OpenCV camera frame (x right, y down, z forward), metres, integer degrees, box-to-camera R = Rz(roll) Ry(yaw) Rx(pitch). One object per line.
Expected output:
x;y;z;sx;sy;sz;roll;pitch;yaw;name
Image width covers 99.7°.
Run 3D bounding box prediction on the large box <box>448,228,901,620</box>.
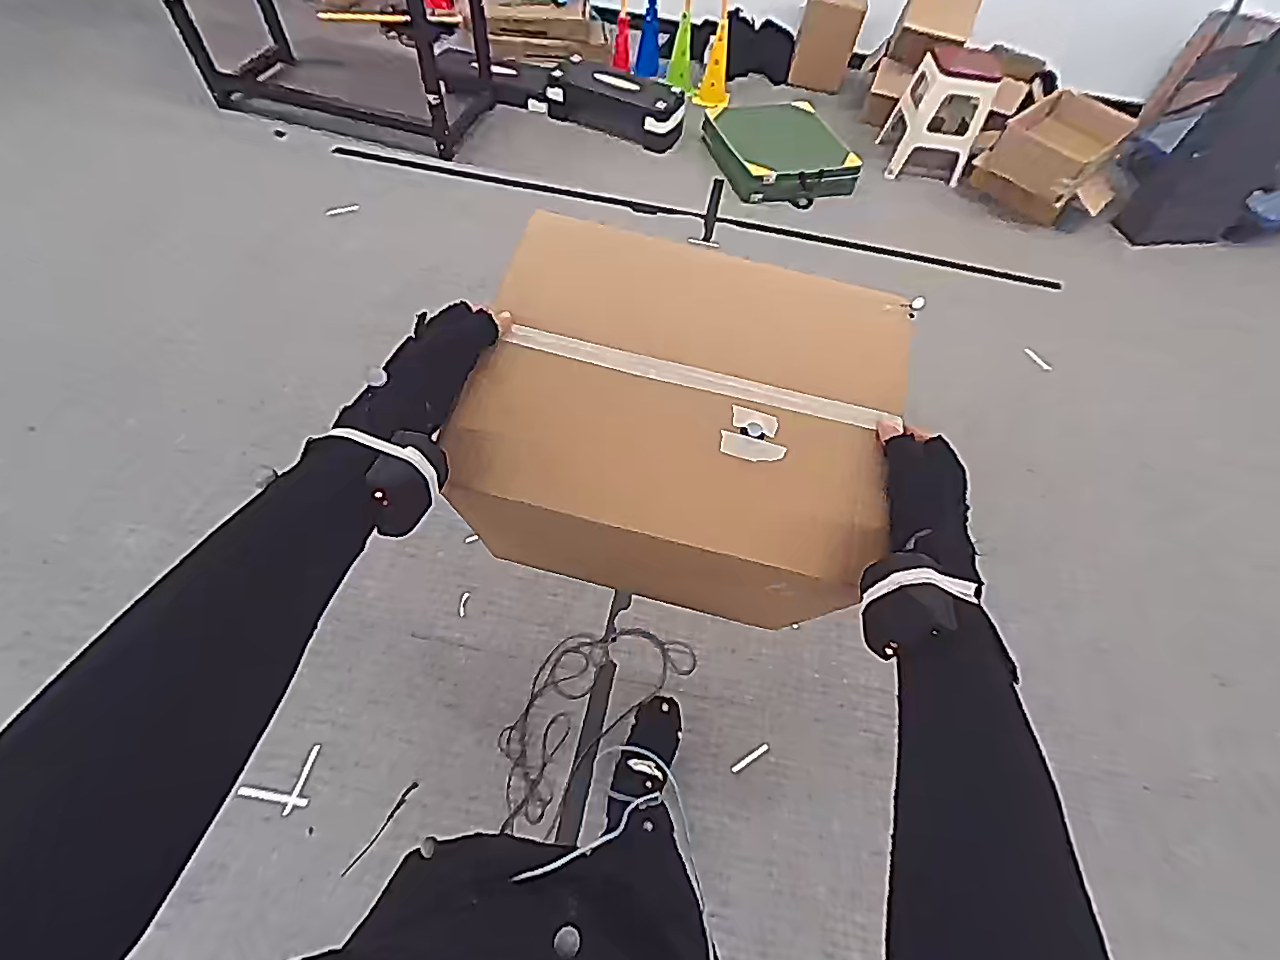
0.042;-0.040;0.666;0.408;0.320;0.320;14;70;1;large box
